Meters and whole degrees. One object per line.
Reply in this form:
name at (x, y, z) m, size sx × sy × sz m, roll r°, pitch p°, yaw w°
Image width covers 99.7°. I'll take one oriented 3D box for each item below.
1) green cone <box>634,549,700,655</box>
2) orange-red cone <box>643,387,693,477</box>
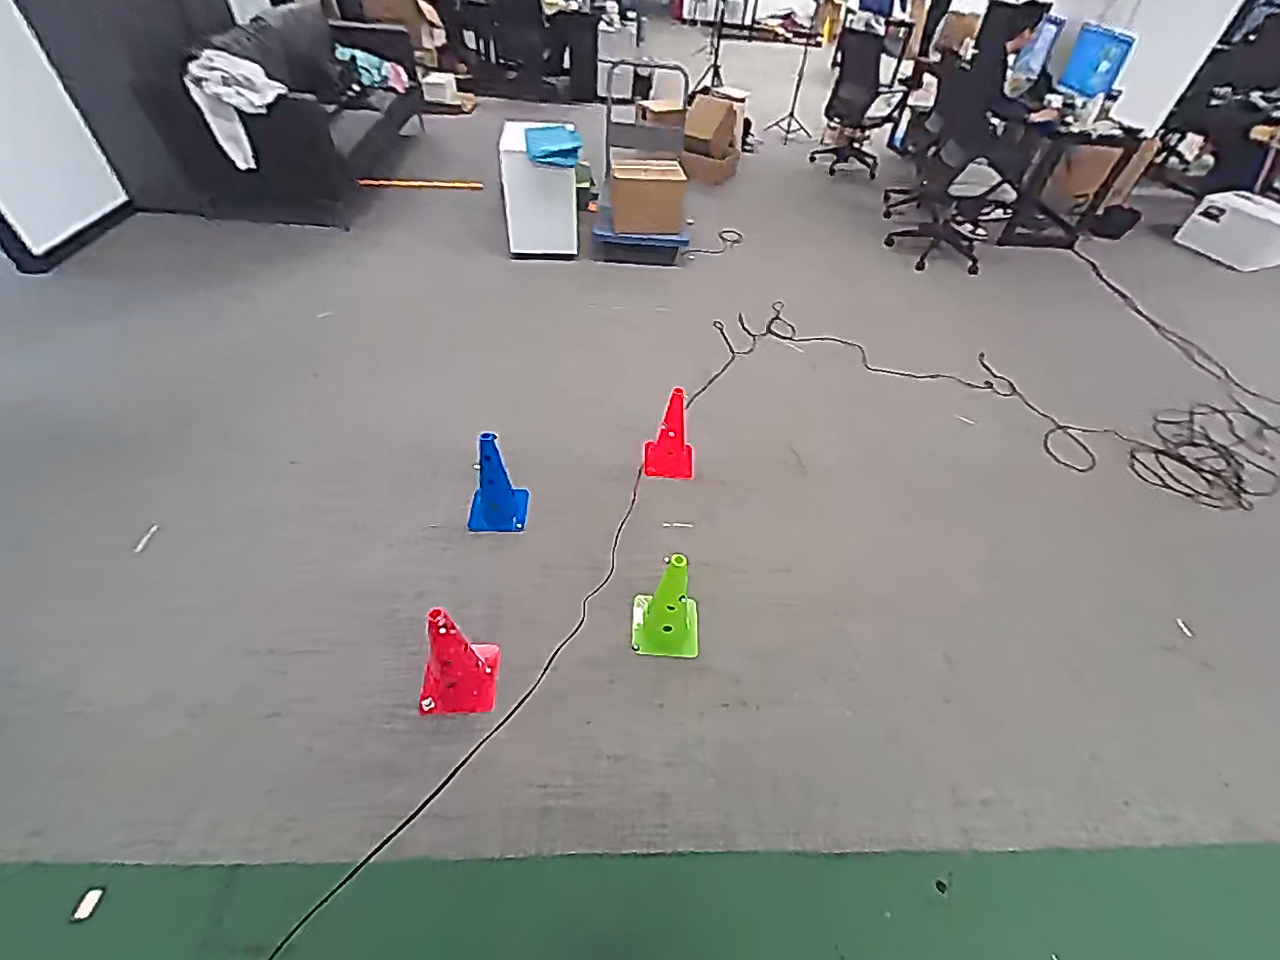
green cone at (0.096, 0.325, 1.551) m, size 0.200 × 0.368 × 0.202 m, roll 4°, pitch 45°, yaw -2°
orange-red cone at (0.123, -0.202, 2.057) m, size 0.198 × 0.360 × 0.199 m, roll 4°, pitch 48°, yaw 0°
